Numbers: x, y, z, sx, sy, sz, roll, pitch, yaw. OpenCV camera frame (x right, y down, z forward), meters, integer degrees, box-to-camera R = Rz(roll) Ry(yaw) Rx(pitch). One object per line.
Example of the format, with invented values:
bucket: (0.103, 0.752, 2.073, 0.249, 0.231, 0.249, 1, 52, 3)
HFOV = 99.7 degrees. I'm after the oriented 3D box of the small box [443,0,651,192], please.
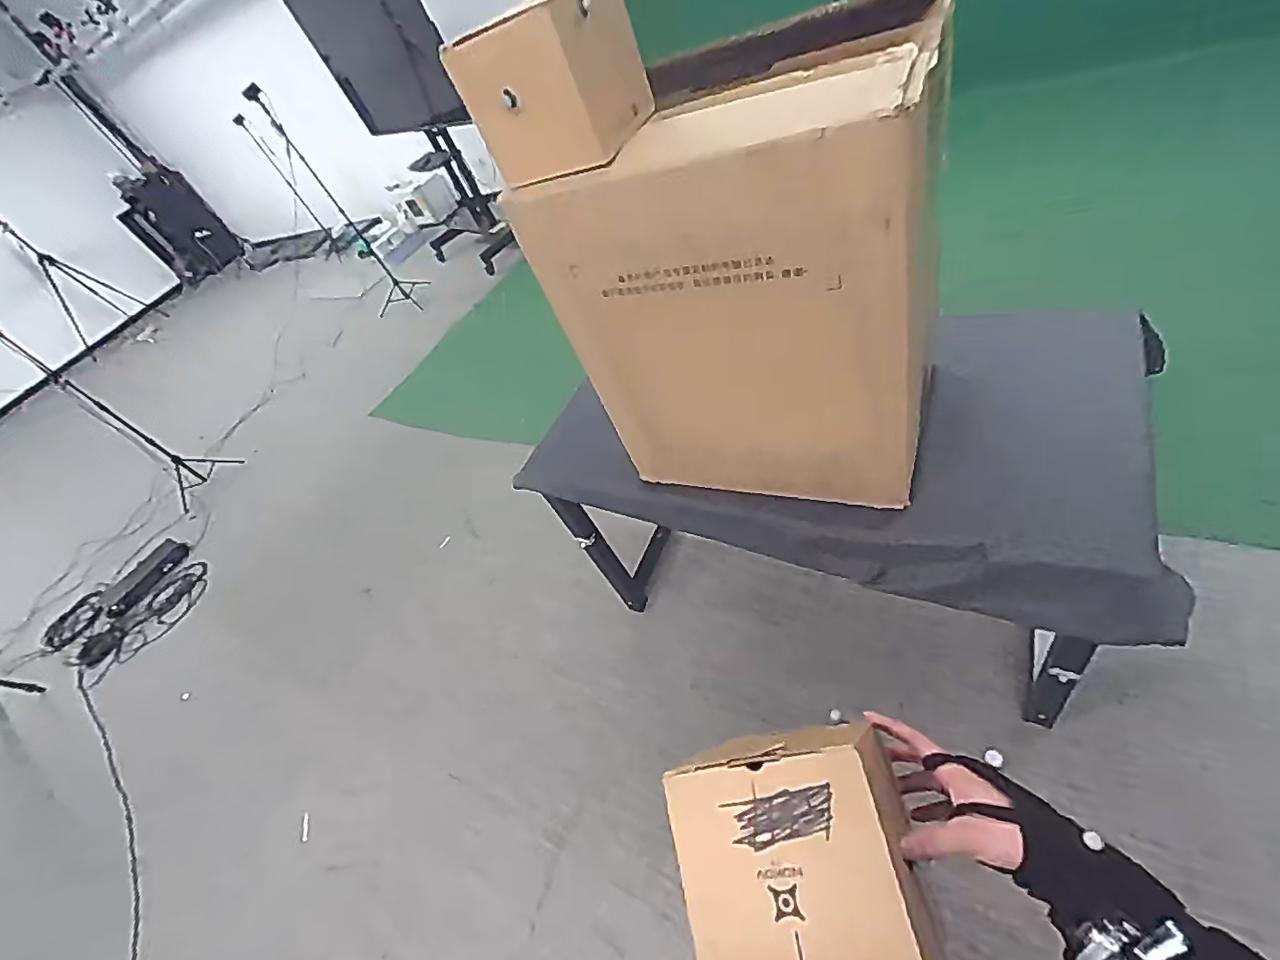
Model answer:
small box: (-0.113, -0.511, 0.717, 0.179, 0.176, 0.168, 5, 54, 32)
